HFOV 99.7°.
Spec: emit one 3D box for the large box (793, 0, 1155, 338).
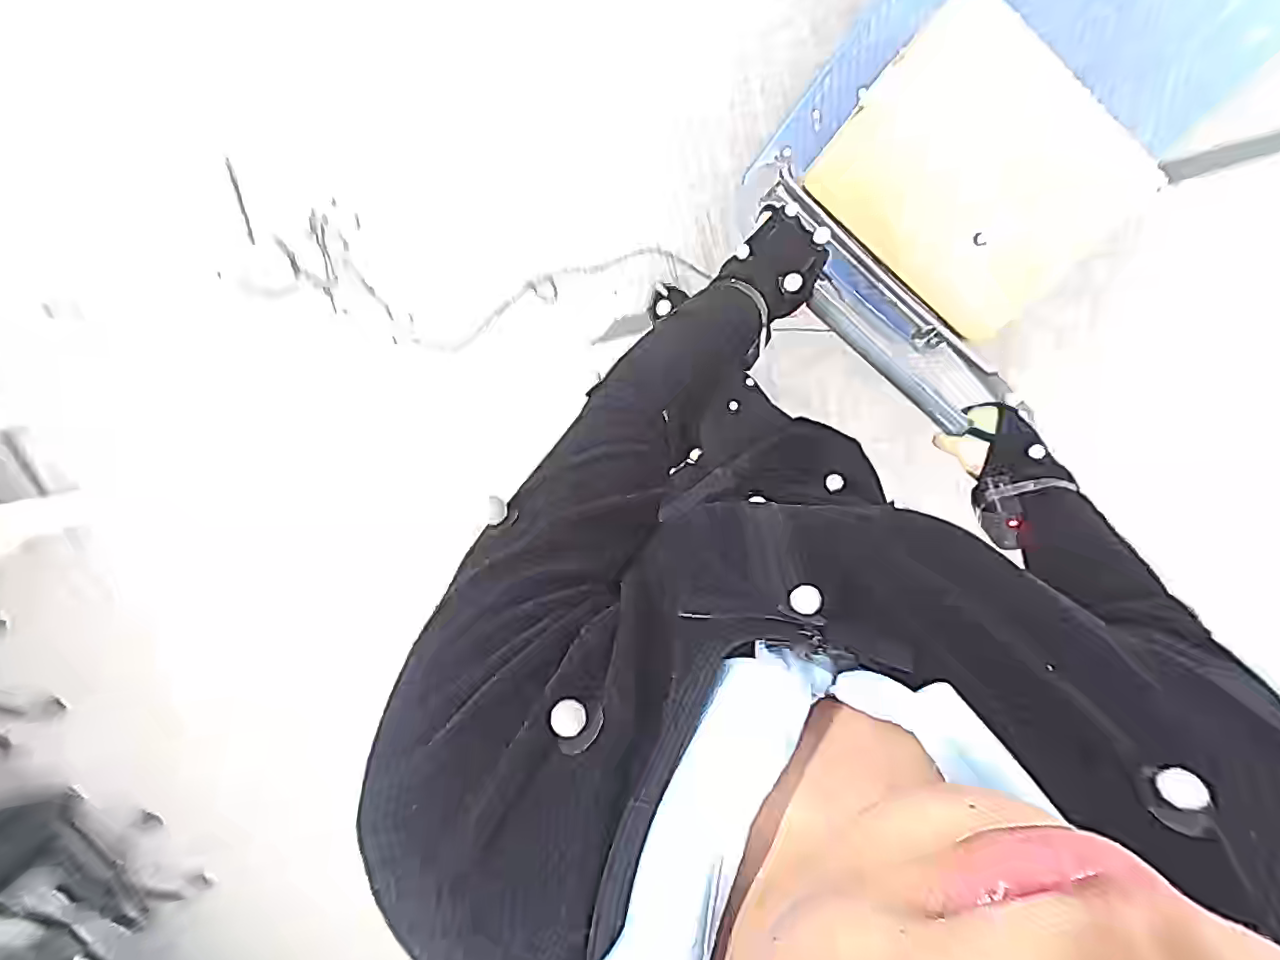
[{"bbox_3d":[0.534,-0.526,0.960,0.408,0.320,0.320,37,119,-8],"label":"large box"}]
